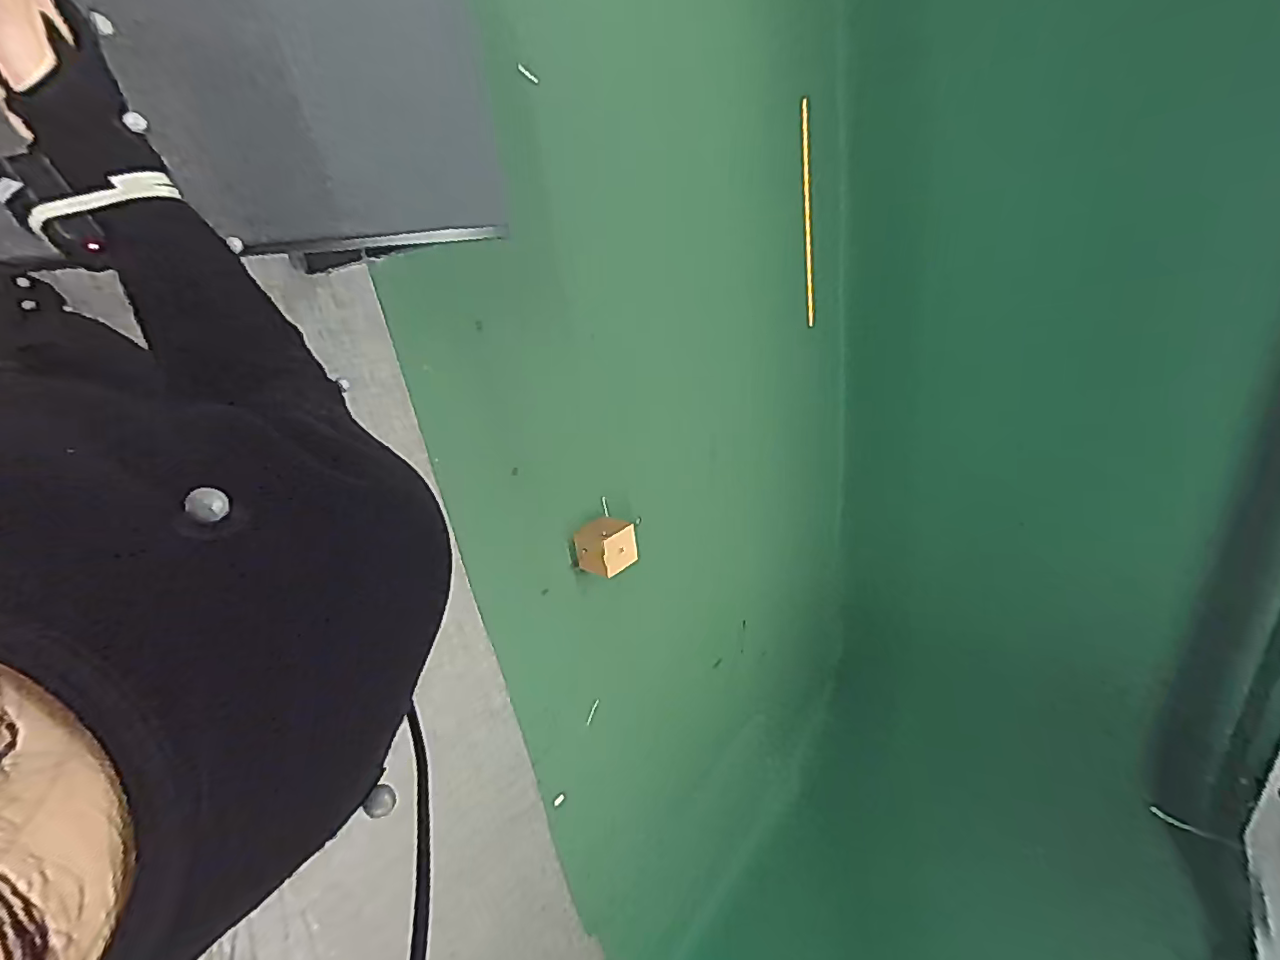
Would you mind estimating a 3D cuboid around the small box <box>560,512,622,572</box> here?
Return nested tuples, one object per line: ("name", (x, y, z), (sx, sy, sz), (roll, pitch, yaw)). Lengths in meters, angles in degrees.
("small box", (-0.197, 0.241, 2.170), (0.179, 0.176, 0.168), (-28, 121, -44))
